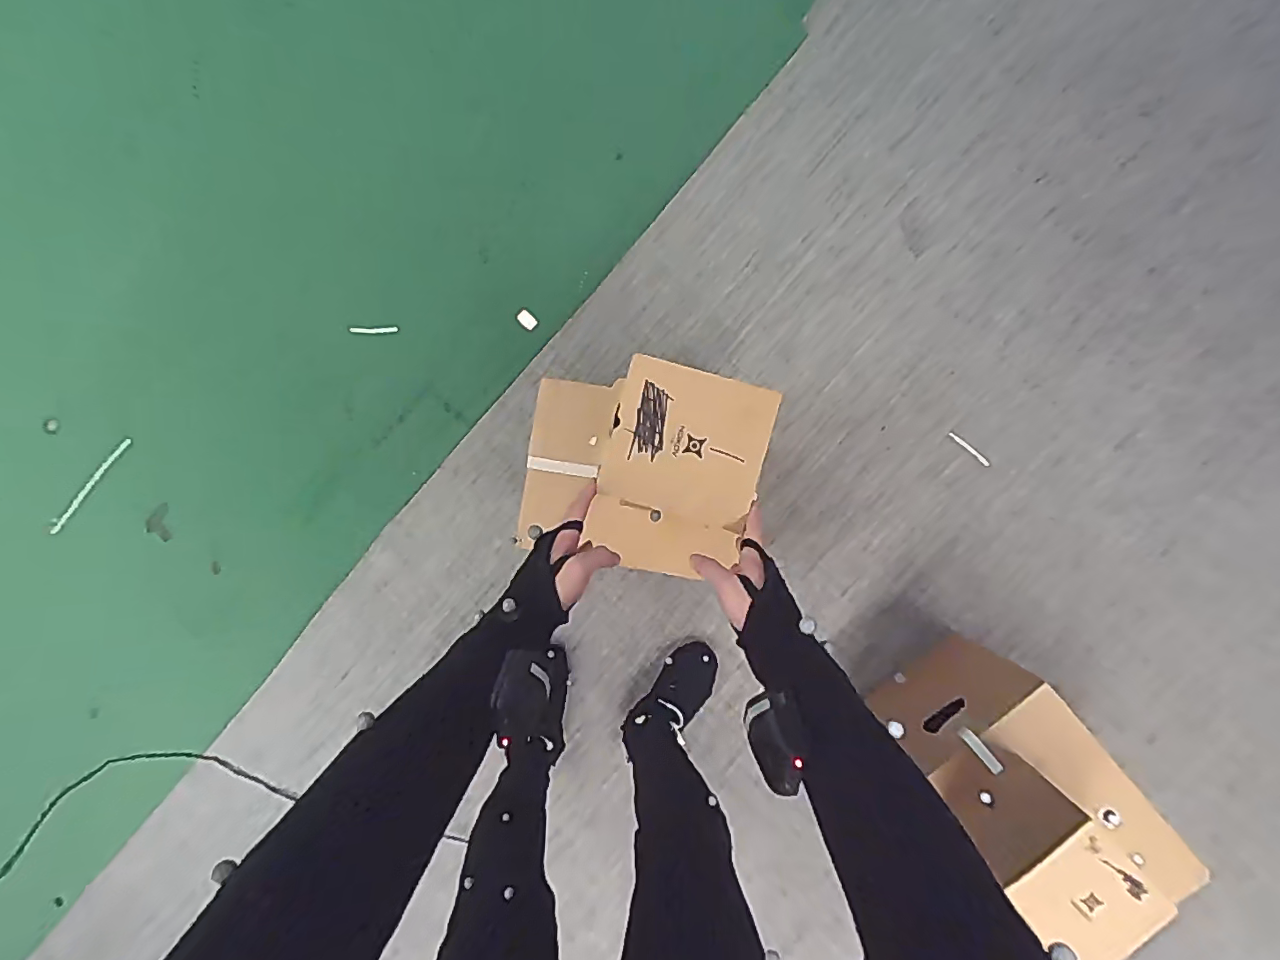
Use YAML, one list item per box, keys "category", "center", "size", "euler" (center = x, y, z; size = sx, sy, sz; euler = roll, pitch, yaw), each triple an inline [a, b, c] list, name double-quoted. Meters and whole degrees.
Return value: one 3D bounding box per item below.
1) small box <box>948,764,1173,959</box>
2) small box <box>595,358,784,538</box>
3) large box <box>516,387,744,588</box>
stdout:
- category: "small box"
  center: [0.601, 0.577, 0.808]
  size: [0.179, 0.176, 0.168]
  euler: [-43, 87, 4]
- category: "small box"
  center: [0.058, -0.032, 0.681]
  size: [0.179, 0.176, 0.168]
  euler: [17, 88, 2]
- category: "large box"
  center: [0.007, 0.011, 1.100]
  size: [0.408, 0.320, 0.320]
  euler: [9, 89, 5]
